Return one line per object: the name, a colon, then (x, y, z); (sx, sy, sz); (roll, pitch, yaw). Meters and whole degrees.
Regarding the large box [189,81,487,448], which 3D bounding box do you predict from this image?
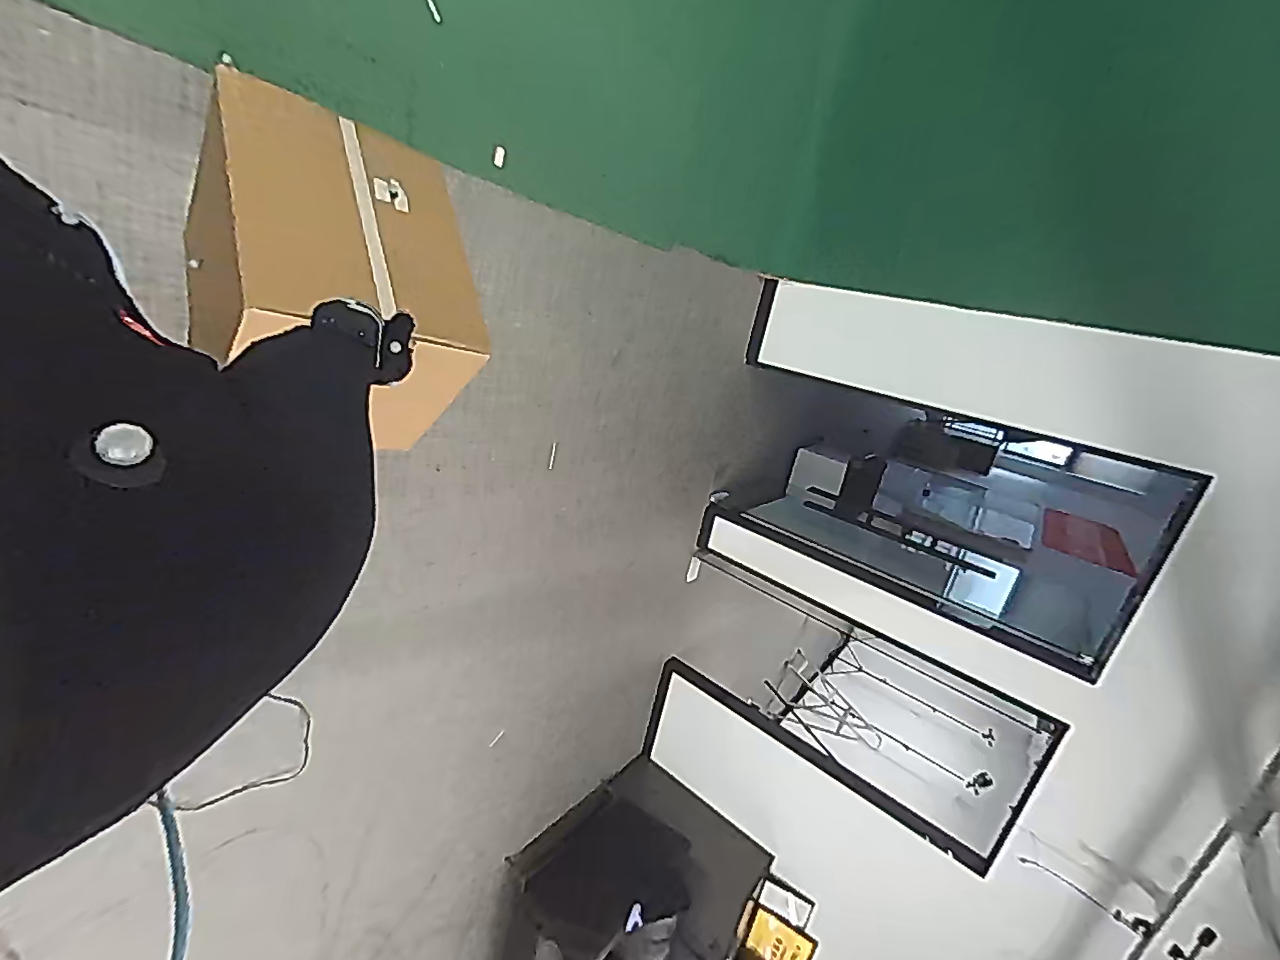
large box: (-0.498, -0.296, 0.870); (0.320, 0.408, 0.320); (2, 152, -48)
